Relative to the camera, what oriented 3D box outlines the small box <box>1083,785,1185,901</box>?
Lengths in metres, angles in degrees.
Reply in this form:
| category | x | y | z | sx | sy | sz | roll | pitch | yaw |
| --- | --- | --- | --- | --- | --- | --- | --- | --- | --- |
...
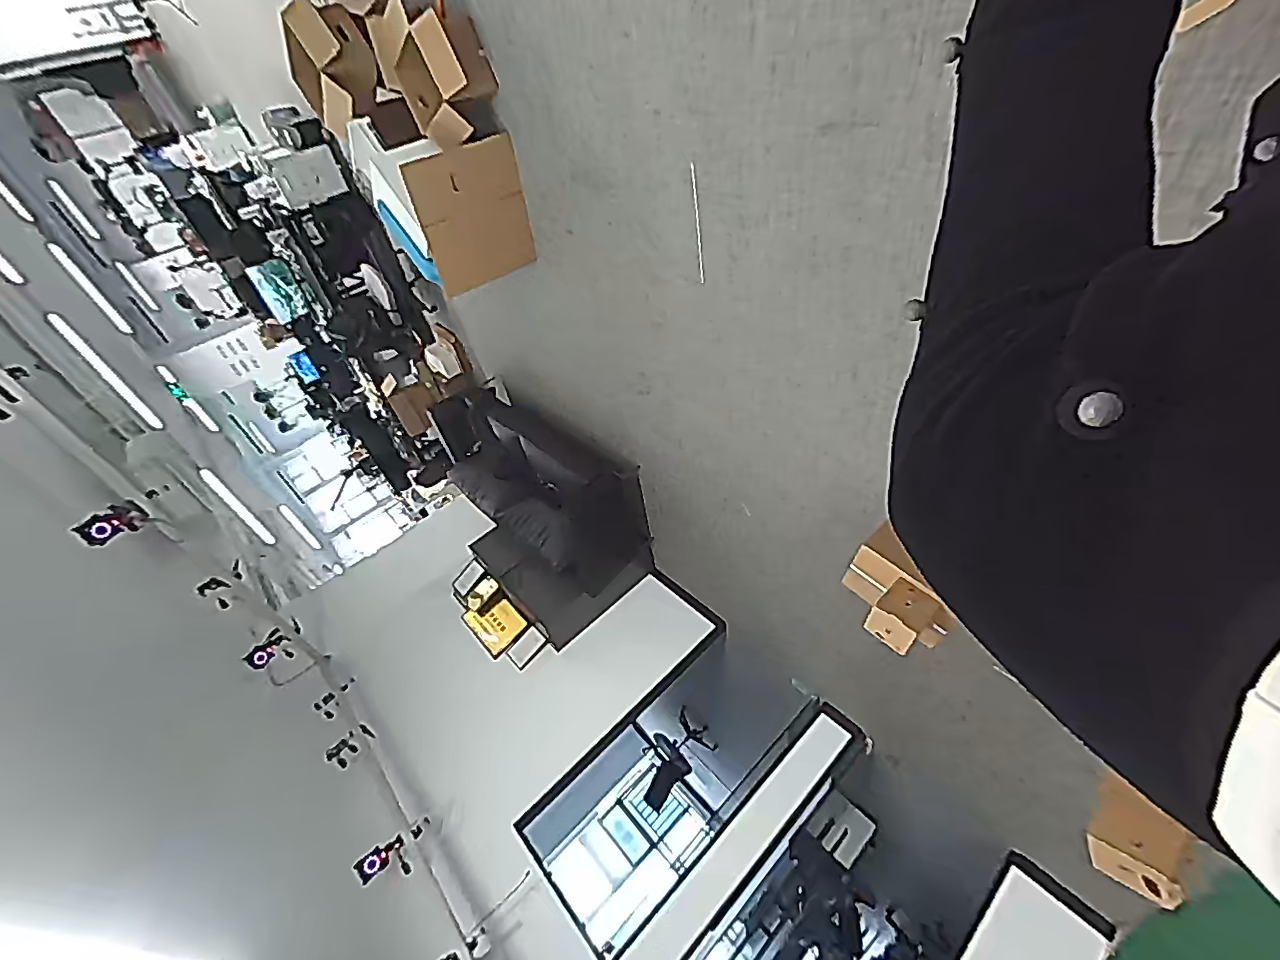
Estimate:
| category | x | y | z | sx | sy | sz | roll | pitch | yaw |
| --- | --- | --- | --- | --- | --- | --- | --- | --- | --- |
| small box | 1.382 | 1.001 | 1.508 | 0.179 | 0.176 | 0.168 | 10 | 132 | 57 |

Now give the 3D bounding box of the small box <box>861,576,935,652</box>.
| category | x | y | z | sx | sy | sz | roll | pitch | yaw |
| --- | --- | --- | --- | --- | --- | --- | --- | --- | --- |
| small box | 0.948 | 0.487 | 1.984 | 0.168 | 0.176 | 0.179 | 37 | 150 | 31 |
